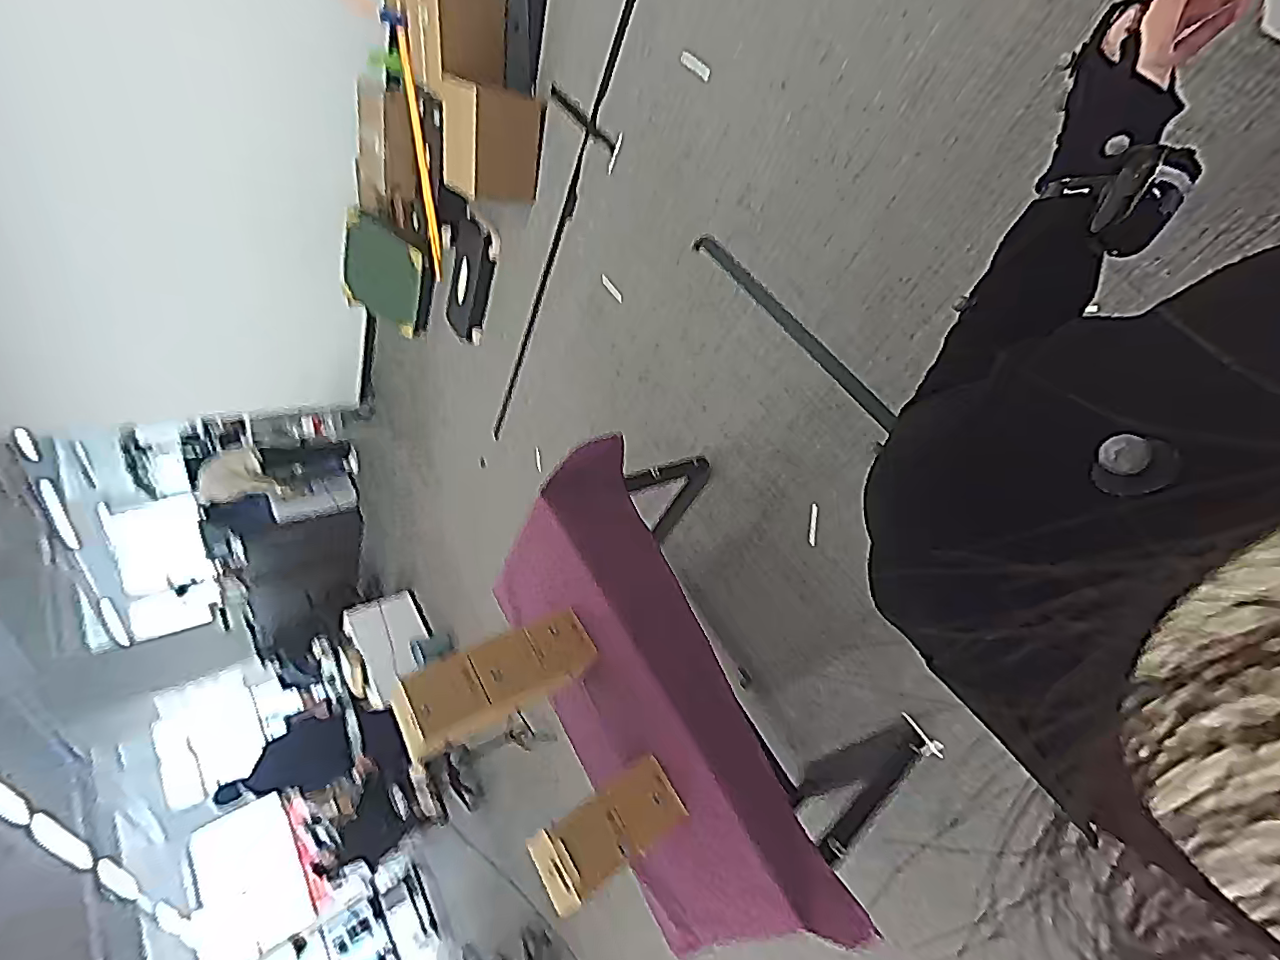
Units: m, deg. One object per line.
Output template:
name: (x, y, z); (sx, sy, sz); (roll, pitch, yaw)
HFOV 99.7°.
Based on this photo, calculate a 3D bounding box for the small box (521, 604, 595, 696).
small box: (-0.253, 0.484, 1.559); (0.168, 0.176, 0.179); (55, 136, 23)

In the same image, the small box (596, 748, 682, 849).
small box: (-0.020, 0.836, 1.404); (0.168, 0.176, 0.179); (54, 135, 23)

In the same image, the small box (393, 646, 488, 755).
small box: (-0.499, 0.548, 1.351); (0.168, 0.176, 0.179); (54, 136, 23)

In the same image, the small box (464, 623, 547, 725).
small box: (-0.372, 0.516, 1.451); (0.179, 0.176, 0.168); (54, 135, 24)

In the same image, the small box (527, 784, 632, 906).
small box: (-0.141, 0.870, 1.299); (0.168, 0.176, 0.179); (53, 135, 25)
